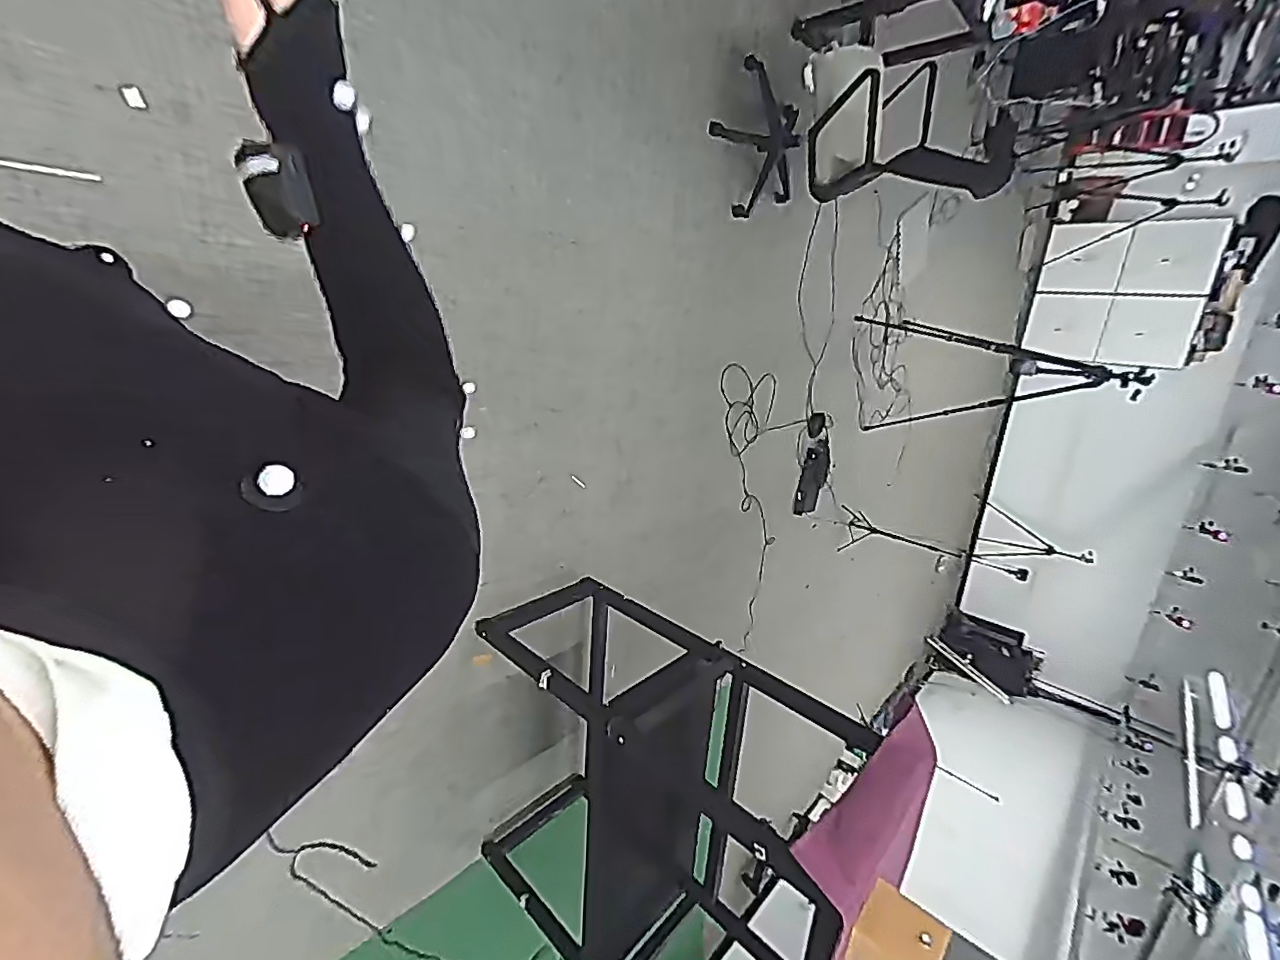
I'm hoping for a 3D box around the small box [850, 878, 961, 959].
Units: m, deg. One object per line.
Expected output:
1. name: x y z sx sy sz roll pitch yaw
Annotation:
1. small box: 0.575 1.040 1.183 0.179 0.176 0.168 -10 111 -48
